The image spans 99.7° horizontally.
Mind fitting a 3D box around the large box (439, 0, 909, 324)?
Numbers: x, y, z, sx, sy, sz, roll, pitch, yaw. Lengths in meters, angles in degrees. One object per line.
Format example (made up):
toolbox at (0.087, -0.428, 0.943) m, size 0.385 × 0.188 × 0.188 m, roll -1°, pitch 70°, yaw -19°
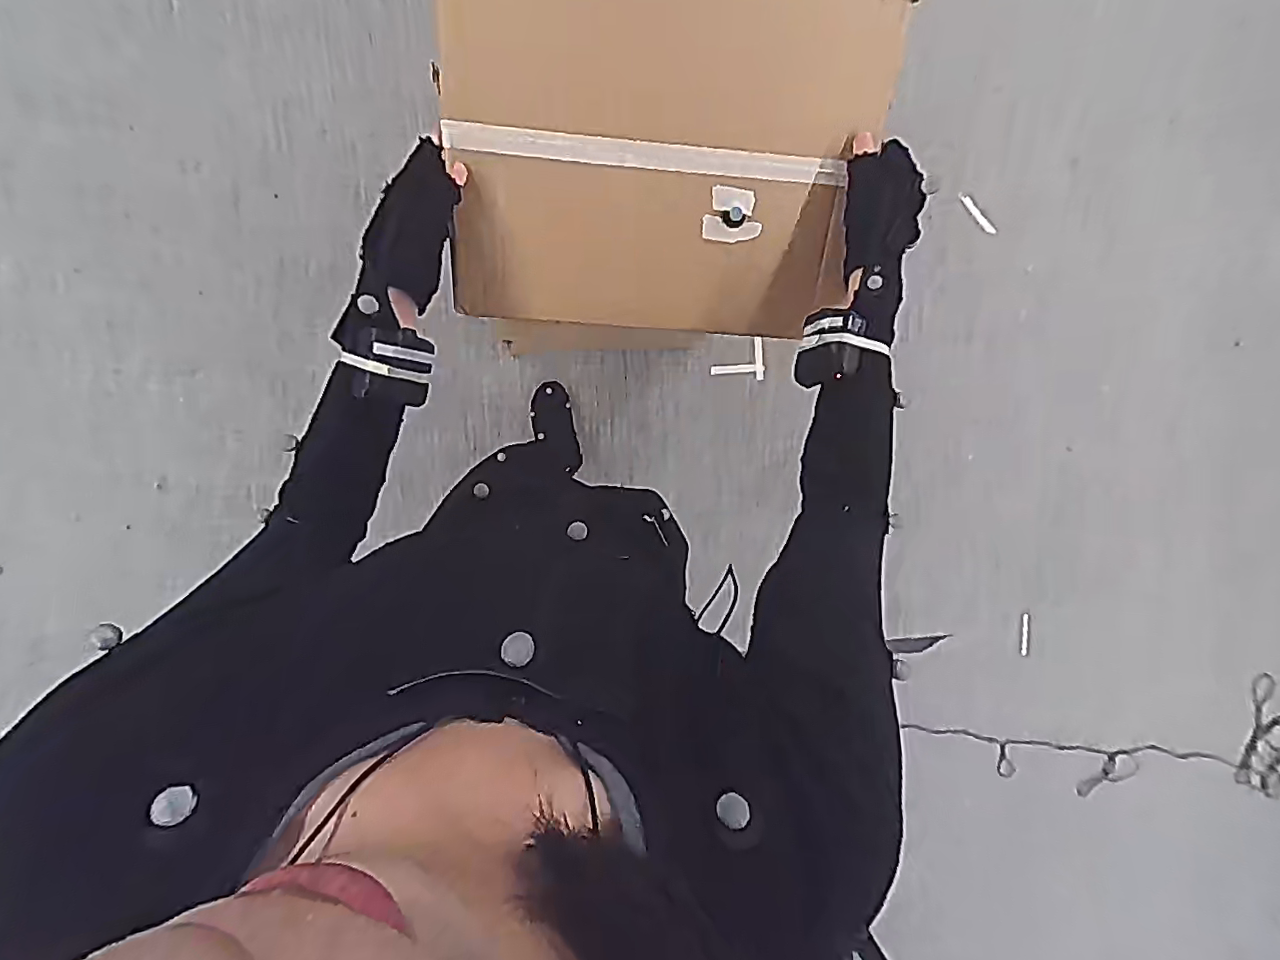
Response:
large box at (0.015, -0.366, 0.629) m, size 0.408 × 0.320 × 0.320 m, roll 1°, pitch 114°, yaw -6°
